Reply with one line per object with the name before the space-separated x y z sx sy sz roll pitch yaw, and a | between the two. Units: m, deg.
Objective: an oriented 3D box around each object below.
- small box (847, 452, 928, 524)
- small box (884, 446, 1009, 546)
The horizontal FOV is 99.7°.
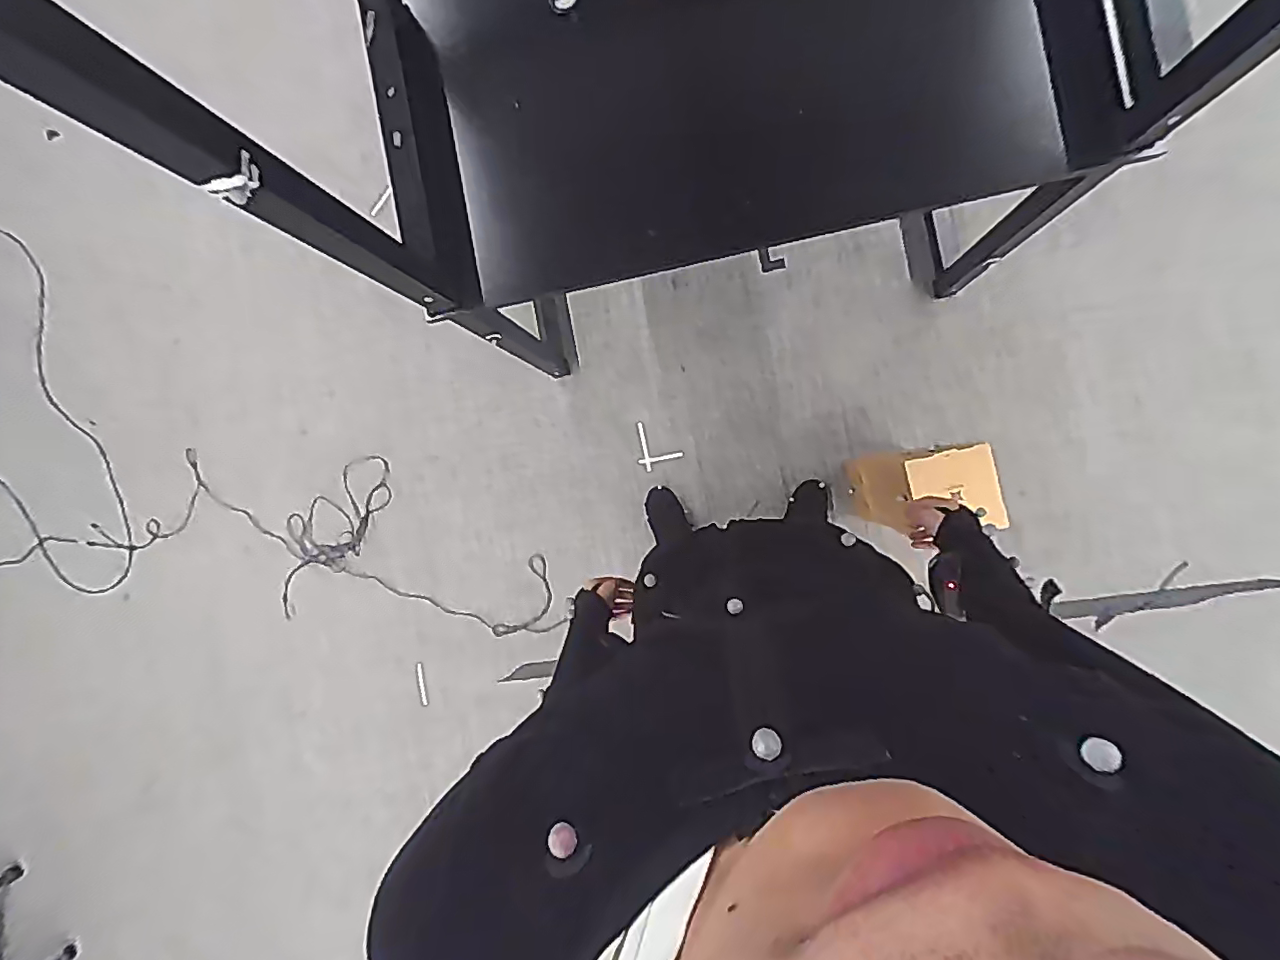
small box | 0.687 0.019 1.477 0.179 0.176 0.168 -12 89 9
small box | 0.642 0.030 1.153 0.168 0.176 0.179 -14 89 9
